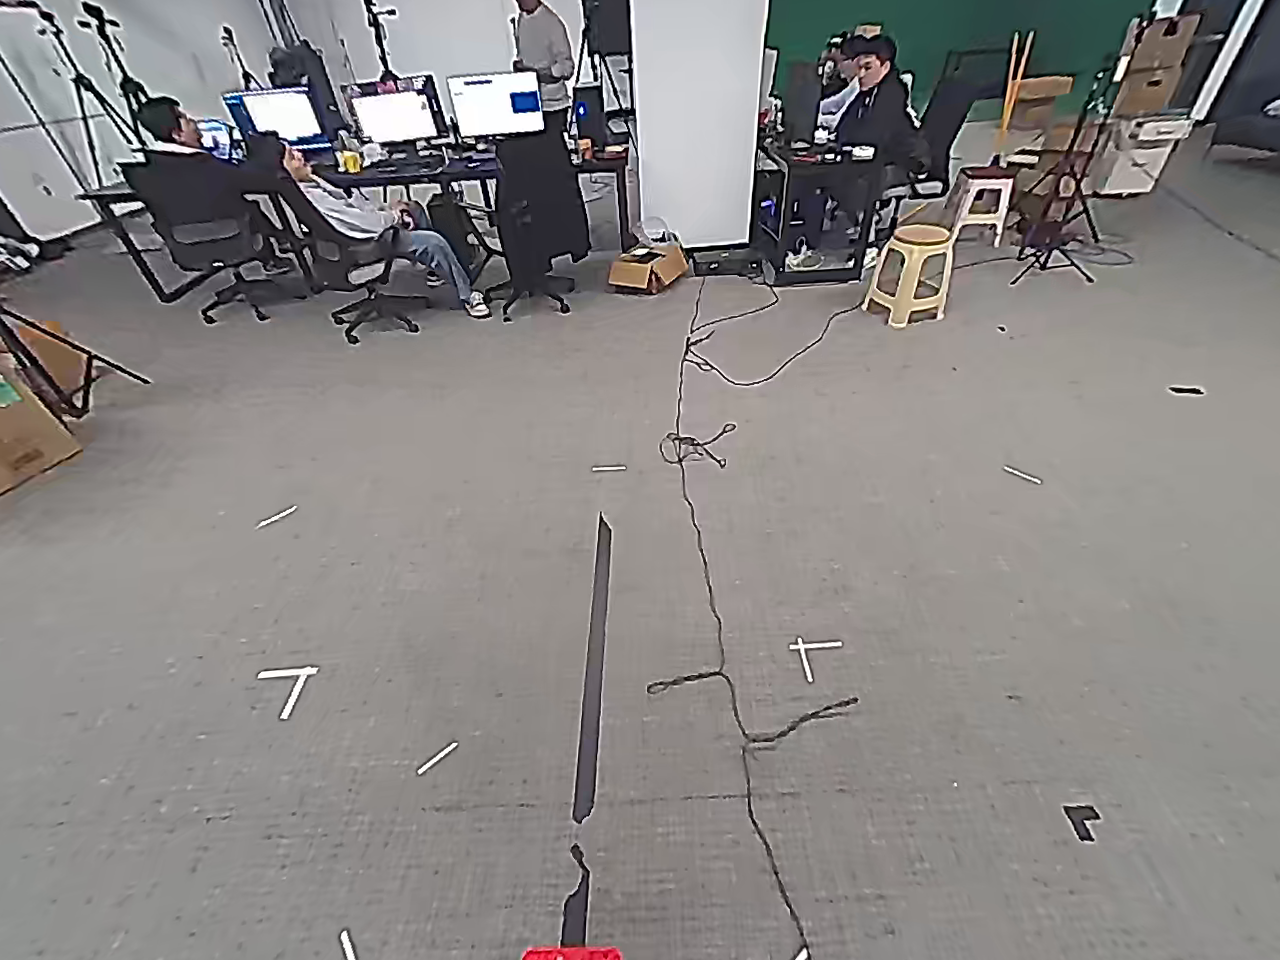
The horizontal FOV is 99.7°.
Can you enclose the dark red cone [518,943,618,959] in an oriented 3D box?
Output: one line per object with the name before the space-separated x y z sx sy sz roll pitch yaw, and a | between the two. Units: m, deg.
dark red cone | -0.143 0.847 0.878 0.201 0.394 0.202 -2 39 1
